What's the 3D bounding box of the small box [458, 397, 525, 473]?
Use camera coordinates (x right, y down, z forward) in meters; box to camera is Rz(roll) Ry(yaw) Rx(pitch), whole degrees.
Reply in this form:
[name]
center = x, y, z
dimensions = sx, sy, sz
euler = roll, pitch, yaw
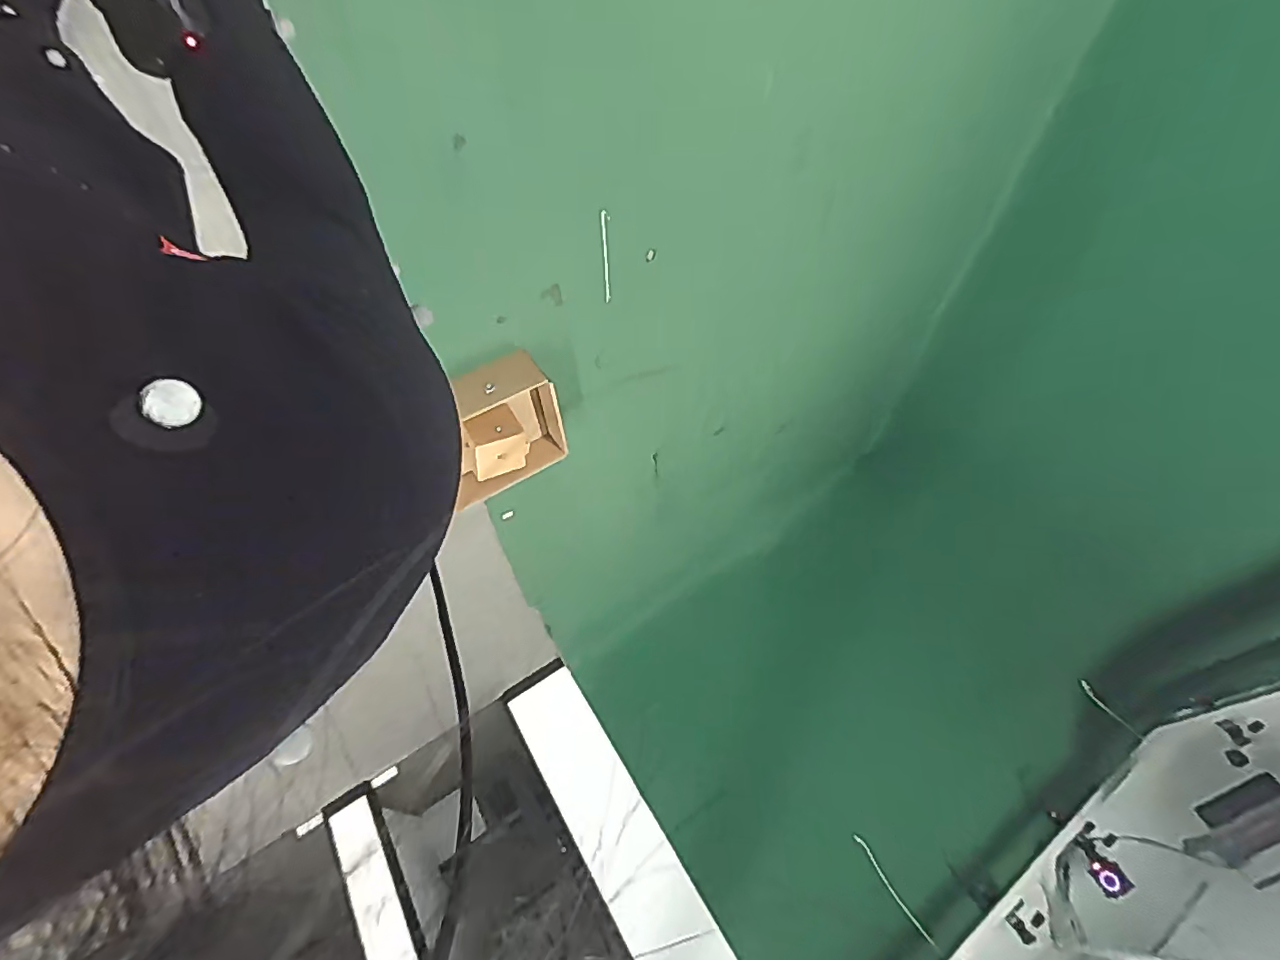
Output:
[small box]
center = -0.505, -0.156, 1.828
dimensions = 0.179, 0.176, 0.168
euler = -21, 147, -28
